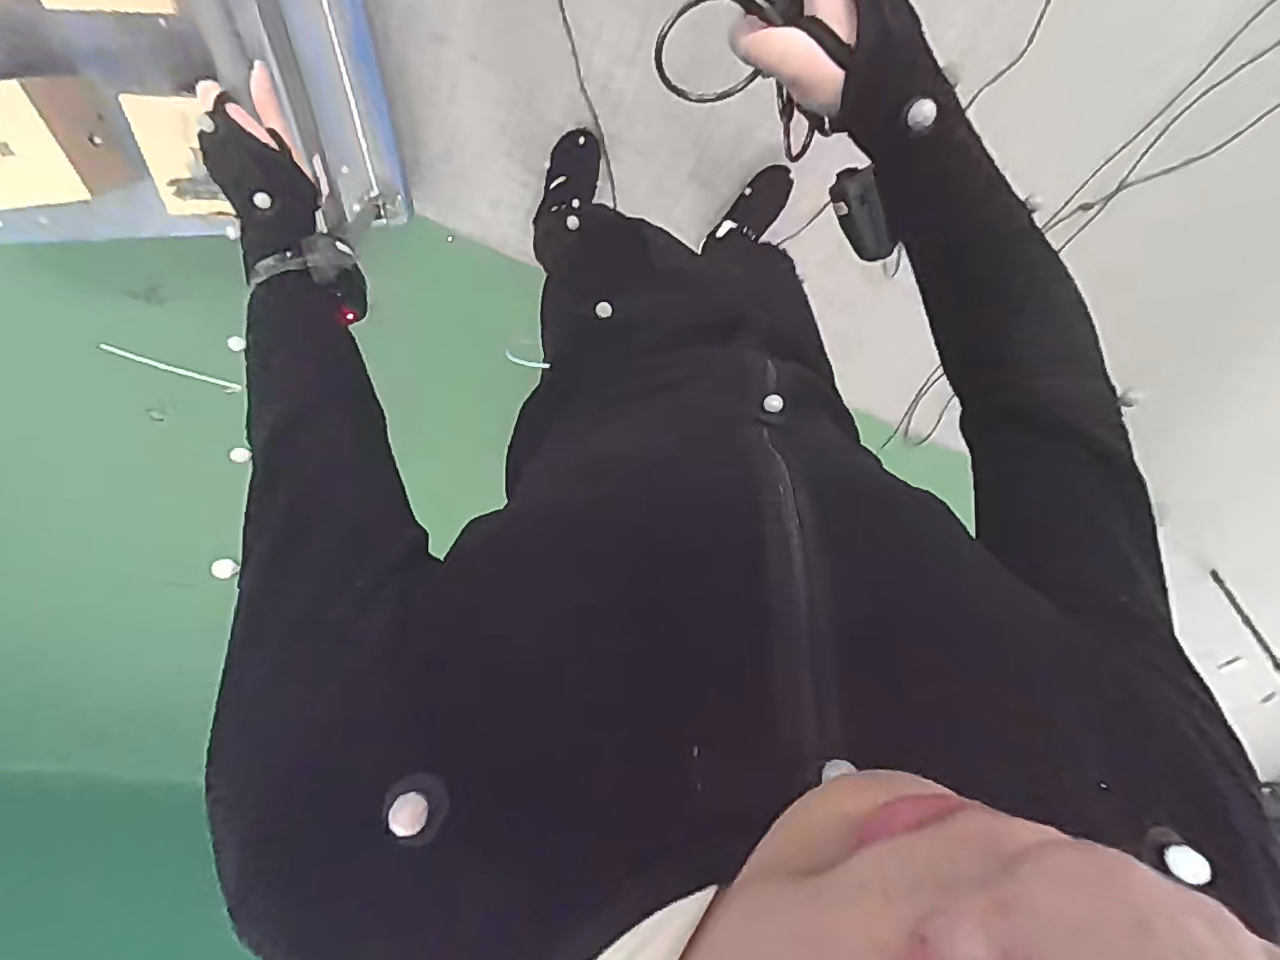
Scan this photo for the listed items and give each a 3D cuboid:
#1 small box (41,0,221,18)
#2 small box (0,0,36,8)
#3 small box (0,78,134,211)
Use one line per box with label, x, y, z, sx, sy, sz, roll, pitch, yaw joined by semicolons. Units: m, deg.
small box;-0.775;-0.793;0.794;0.179;0.176;0.168;-6;129;-9
small box;-1.033;-0.770;0.753;0.179;0.176;0.168;-9;130;-7
small box;-1.022;-0.570;0.915;0.179;0.176;0.168;-10;129;-5
